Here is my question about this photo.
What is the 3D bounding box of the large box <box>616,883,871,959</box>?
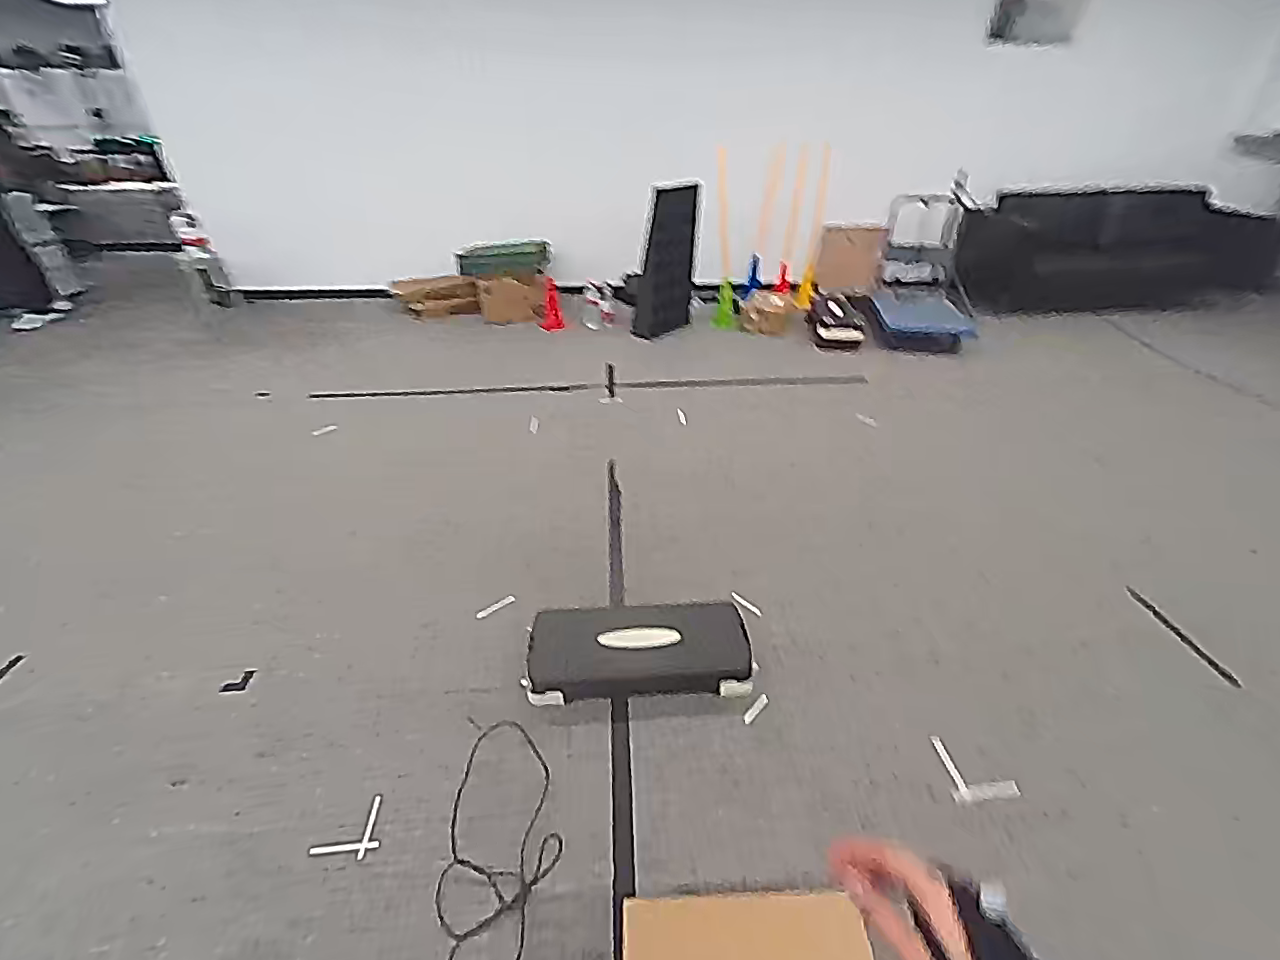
[{"bbox_3d":[0.166,0.915,0.889,0.408,0.320,0.320,0,35,-3],"label":"large box"}]
